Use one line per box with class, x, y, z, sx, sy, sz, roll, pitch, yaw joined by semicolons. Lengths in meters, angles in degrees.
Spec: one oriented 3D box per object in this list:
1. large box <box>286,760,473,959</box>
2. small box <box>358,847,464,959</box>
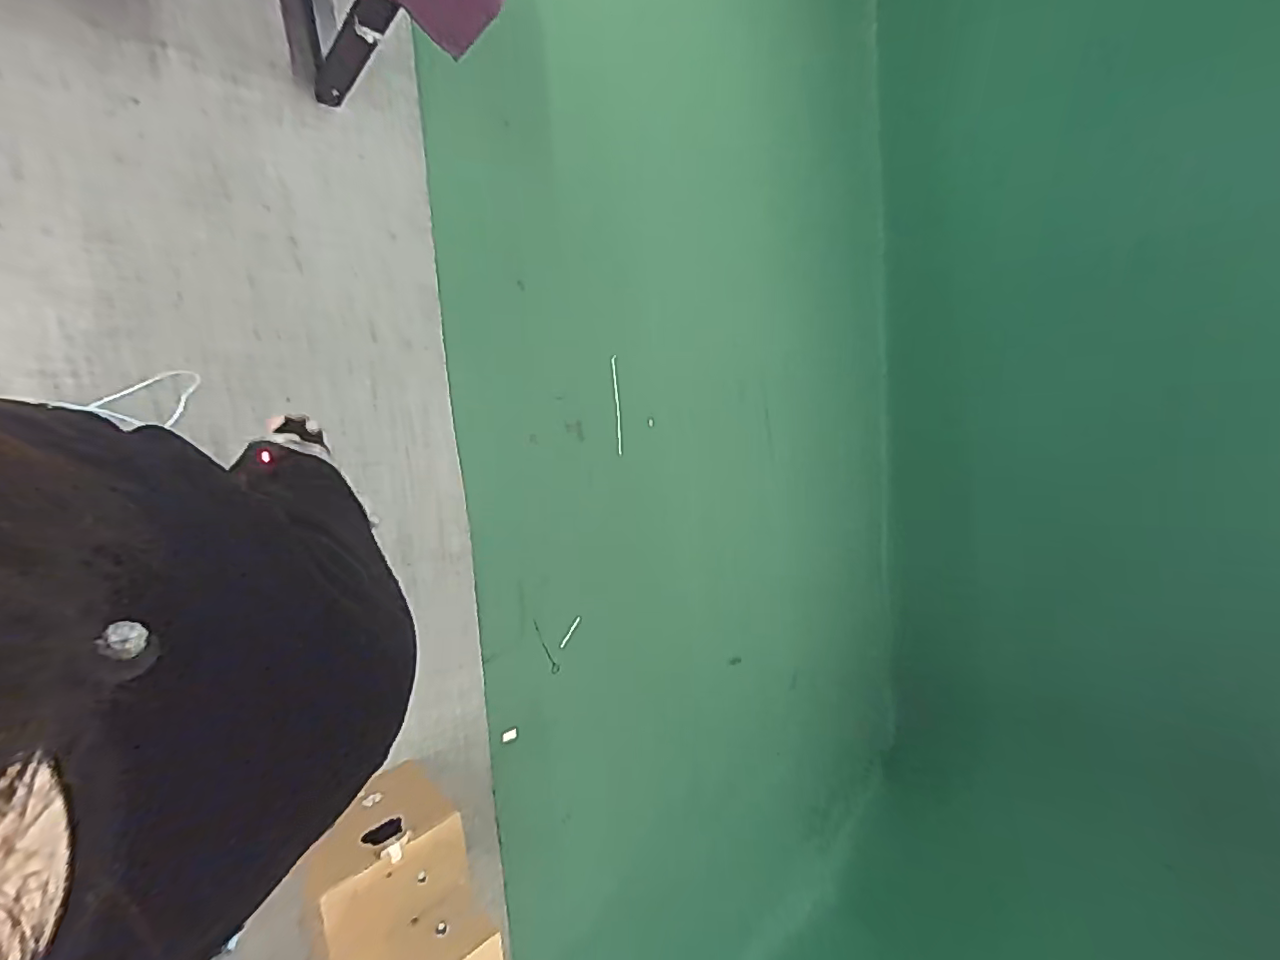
large box;-0.644;1.013;1.357;0.320;0.320;0.408;-12;101;-43
small box;-0.489;0.937;1.163;0.168;0.176;0.179;-10;100;-44
